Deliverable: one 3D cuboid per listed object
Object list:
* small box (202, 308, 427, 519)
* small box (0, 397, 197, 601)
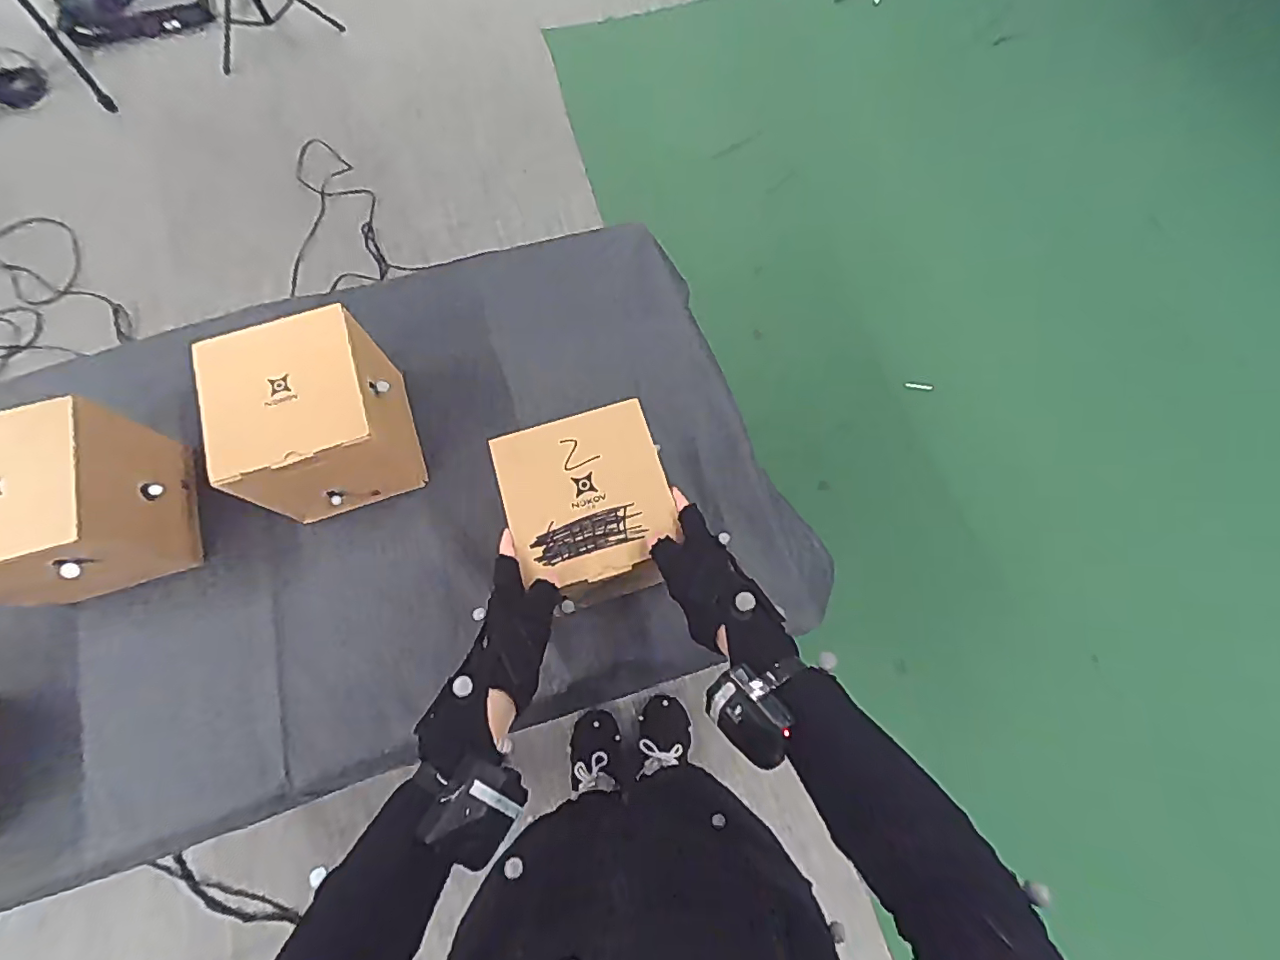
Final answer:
[{"bbox_3d":[-0.382,-0.072,0.659,0.168,0.176,0.179,-18,74,-7],"label":"small box"},{"bbox_3d":[-0.649,0.031,0.617,0.179,0.176,0.168,-16,74,-6],"label":"small box"}]
